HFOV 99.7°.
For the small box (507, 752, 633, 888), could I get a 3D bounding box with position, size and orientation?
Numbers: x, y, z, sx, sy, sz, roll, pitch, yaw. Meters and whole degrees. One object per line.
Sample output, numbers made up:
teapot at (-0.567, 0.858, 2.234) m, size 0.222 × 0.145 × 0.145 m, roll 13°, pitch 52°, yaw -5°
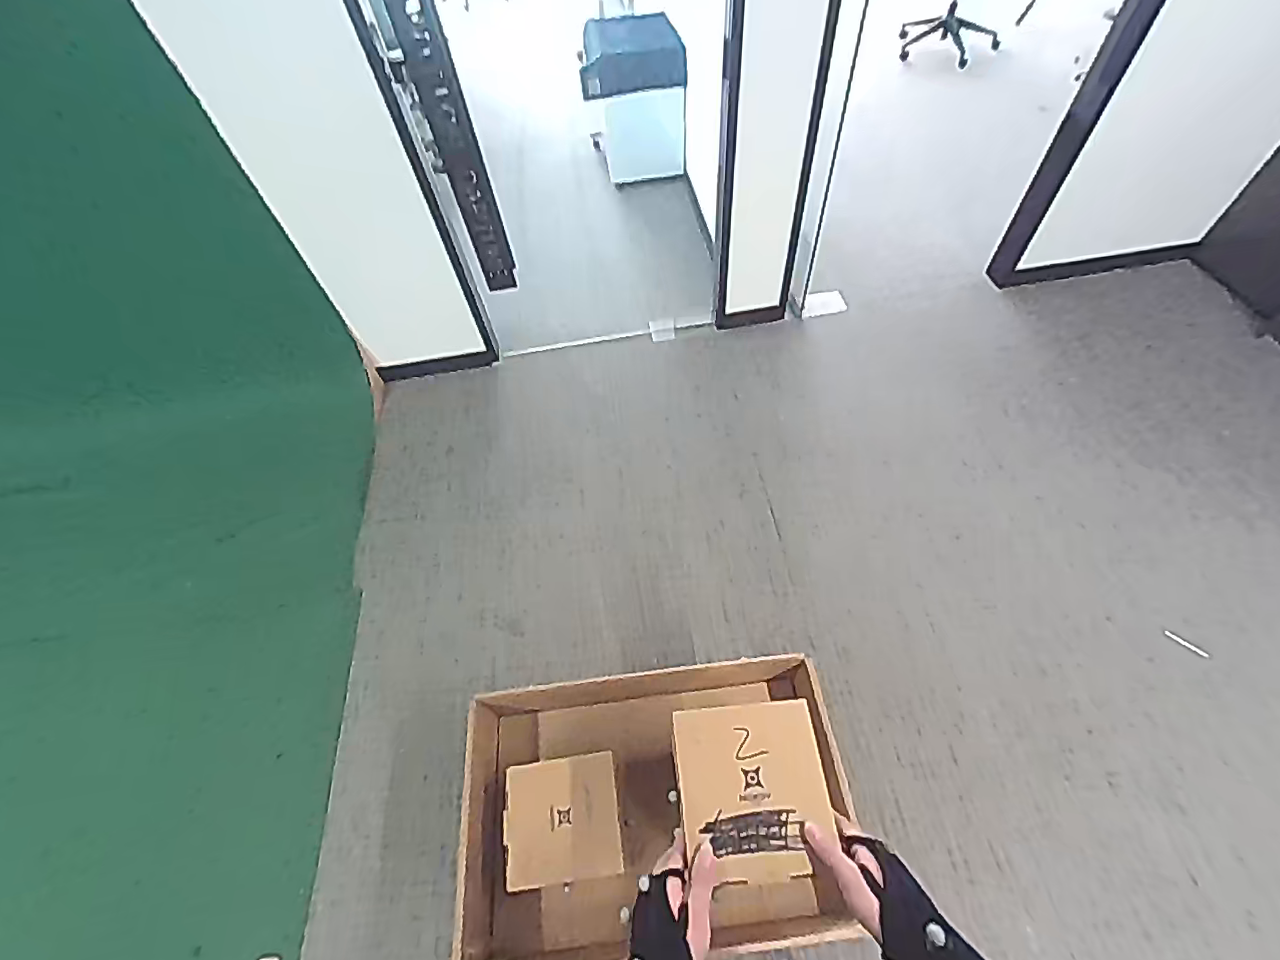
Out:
small box at (-0.112, 0.564, 0.897) m, size 0.179 × 0.176 × 0.168 m, roll -8°, pitch 56°, yaw -2°
